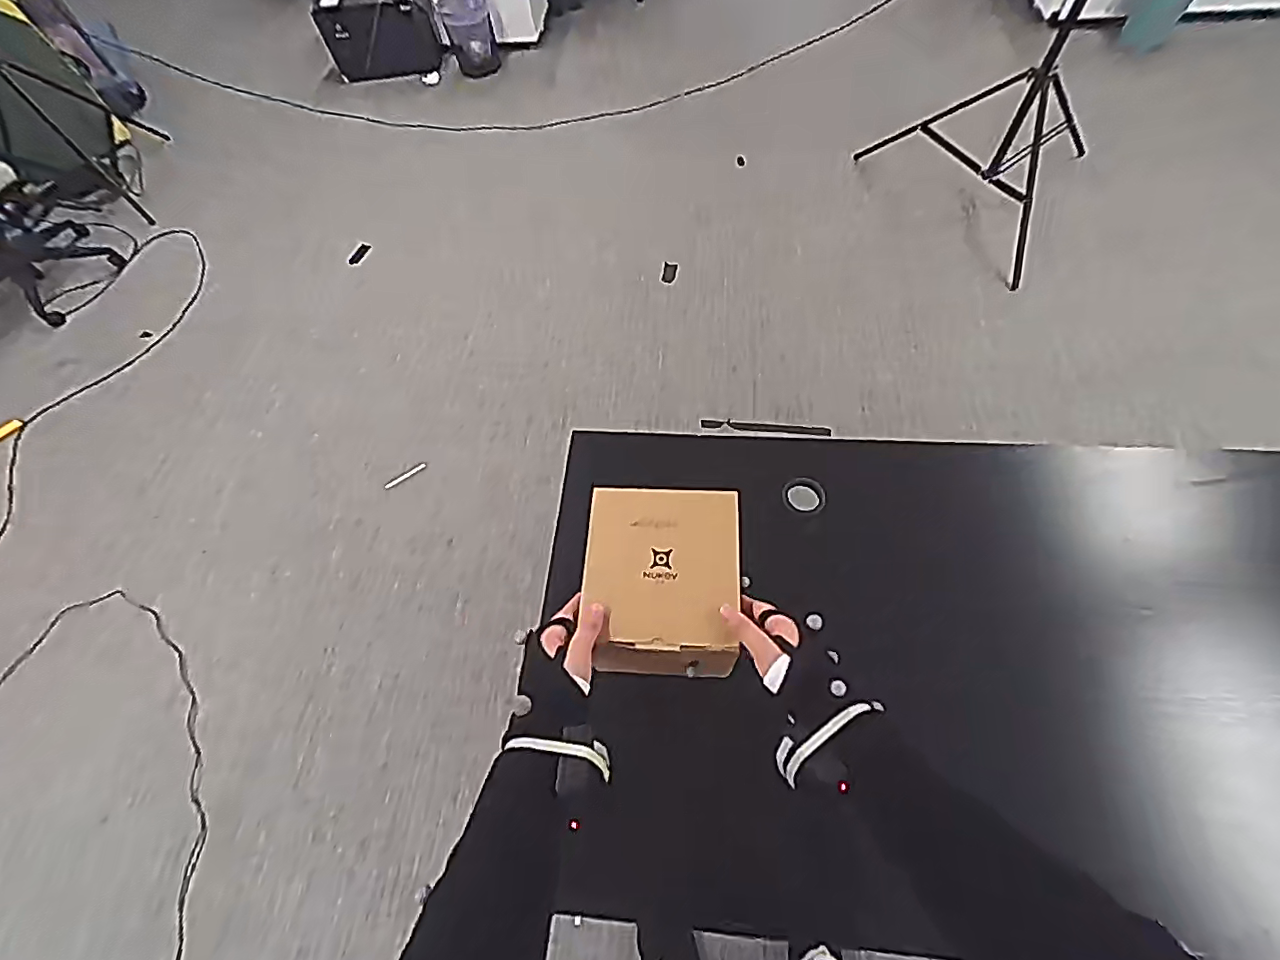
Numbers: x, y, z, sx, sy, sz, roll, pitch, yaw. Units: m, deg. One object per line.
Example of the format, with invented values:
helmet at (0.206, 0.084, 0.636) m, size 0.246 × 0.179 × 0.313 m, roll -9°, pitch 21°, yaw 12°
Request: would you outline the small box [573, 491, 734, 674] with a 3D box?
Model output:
small box at (0.023, 0.129, 0.648) m, size 0.168 × 0.176 × 0.179 m, roll 1°, pitch 61°, yaw 4°
